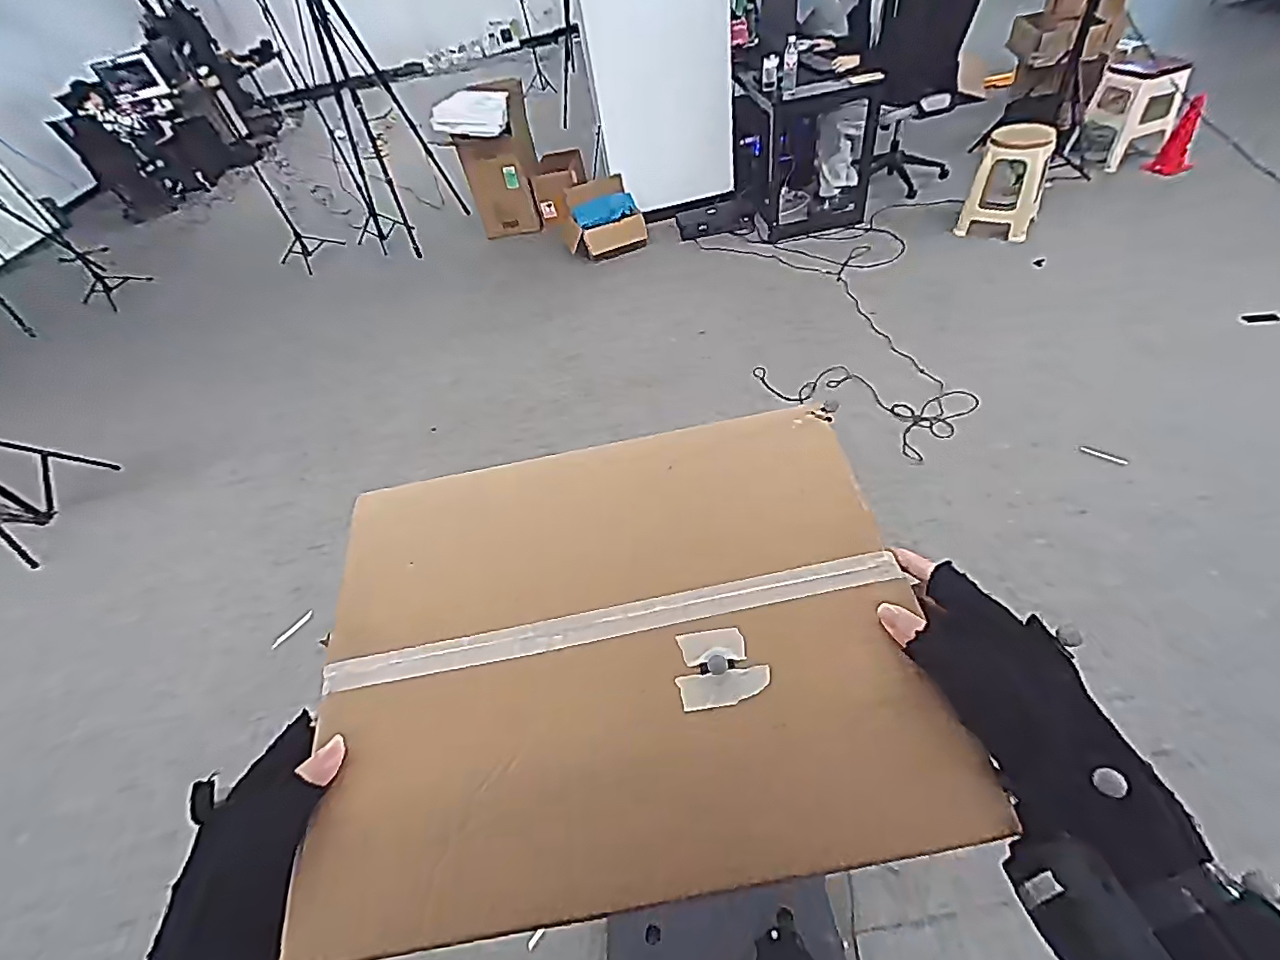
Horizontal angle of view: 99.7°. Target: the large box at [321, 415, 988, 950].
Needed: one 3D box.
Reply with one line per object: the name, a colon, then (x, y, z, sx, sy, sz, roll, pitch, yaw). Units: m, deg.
large box: (0.000, 0.188, 0.515, 0.408, 0.320, 0.320, -11, 56, 0)
